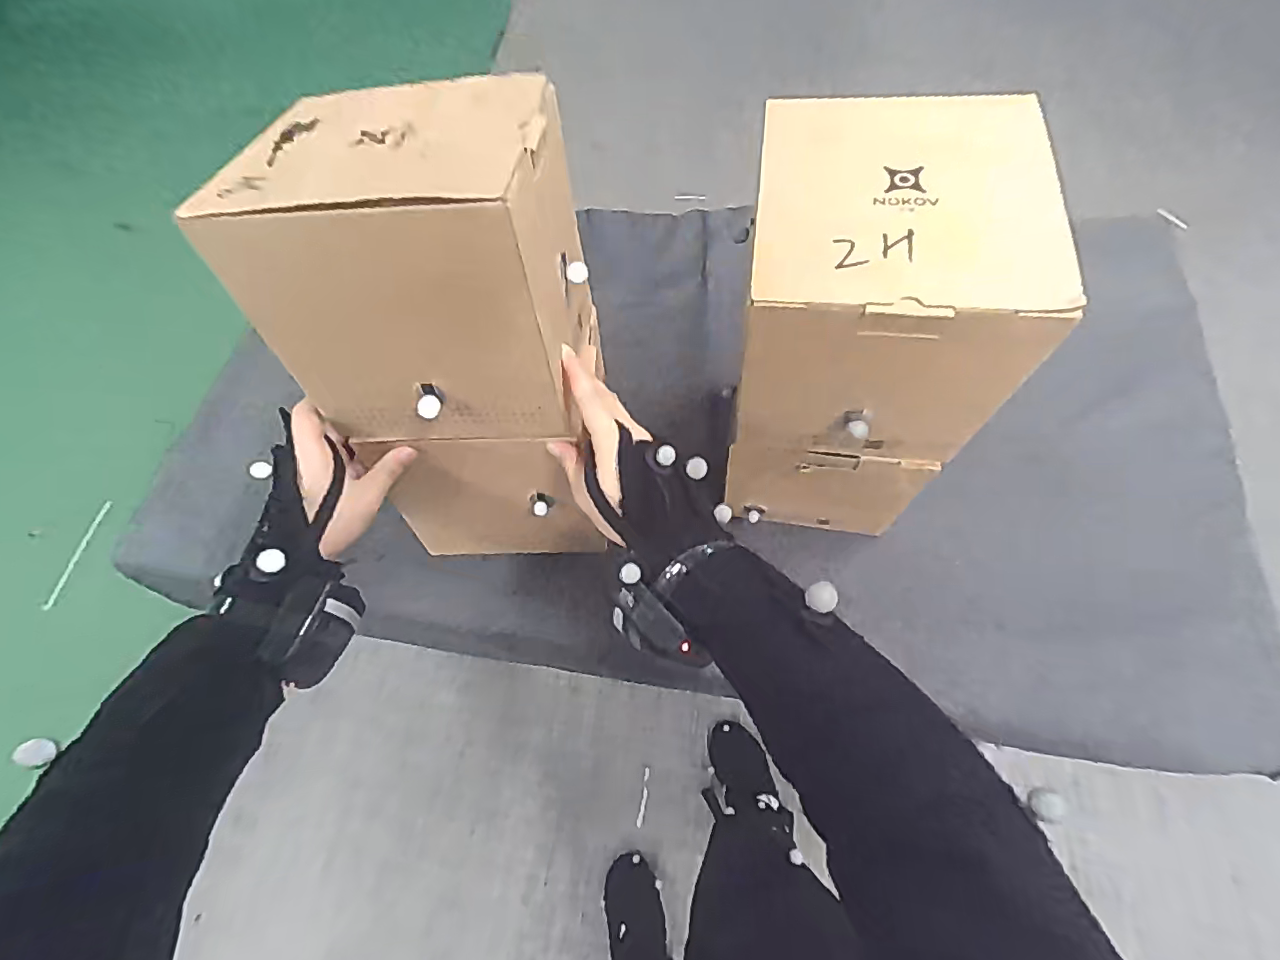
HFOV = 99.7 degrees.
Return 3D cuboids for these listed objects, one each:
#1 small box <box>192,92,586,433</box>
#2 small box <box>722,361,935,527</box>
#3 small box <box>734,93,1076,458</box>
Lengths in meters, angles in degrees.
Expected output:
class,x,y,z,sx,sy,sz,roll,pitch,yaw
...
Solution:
class,x,y,z,sx,sy,sz,roll,pitch,yaw
small box,-0.139,-0.146,0.386,0.179,0.176,0.168,-1,51,5
small box,0.174,-0.066,0.535,0.168,0.176,0.179,8,66,10
small box,0.158,-0.136,0.386,0.168,0.176,0.179,5,67,10
